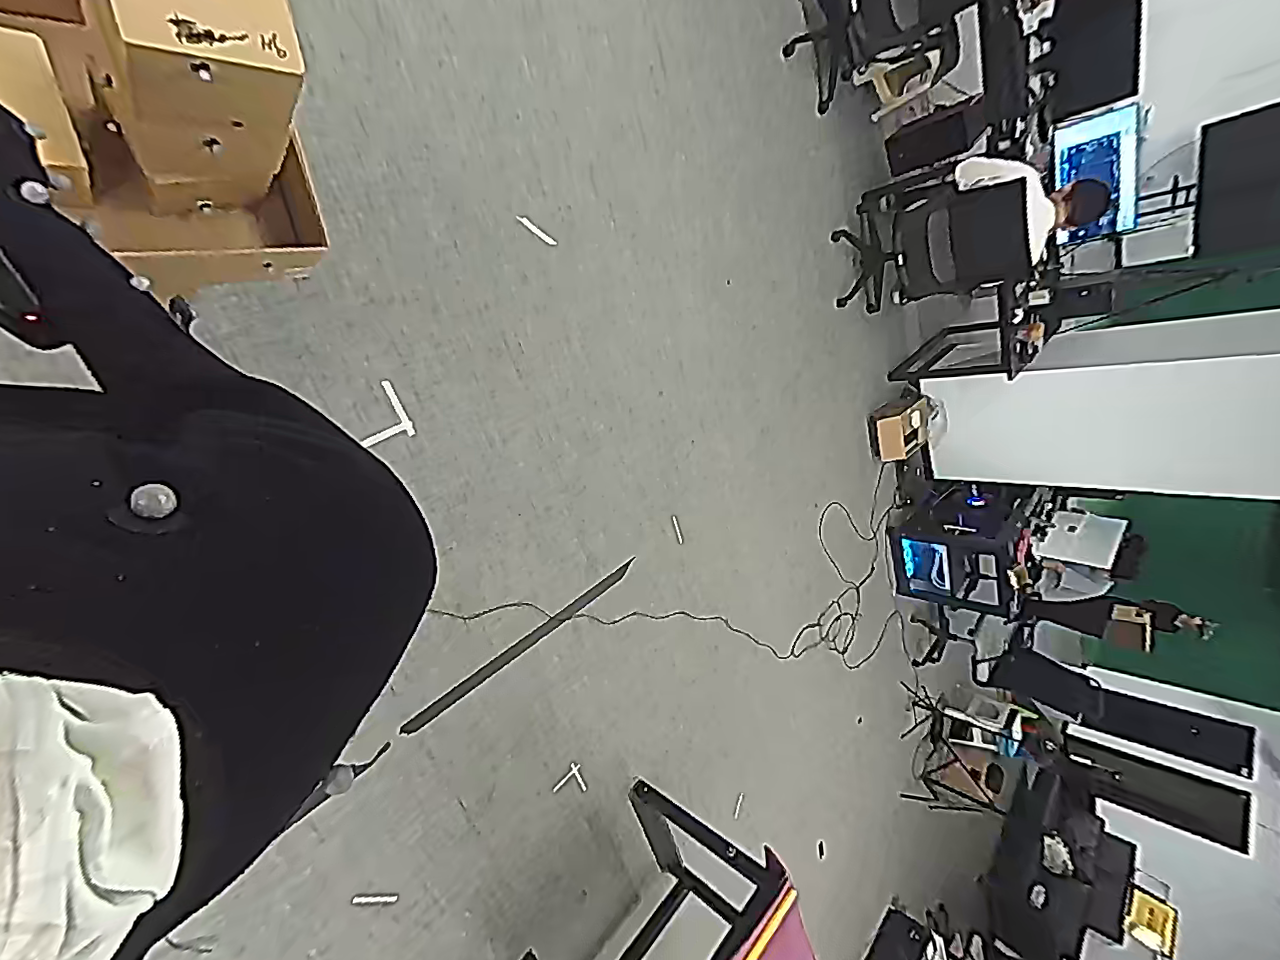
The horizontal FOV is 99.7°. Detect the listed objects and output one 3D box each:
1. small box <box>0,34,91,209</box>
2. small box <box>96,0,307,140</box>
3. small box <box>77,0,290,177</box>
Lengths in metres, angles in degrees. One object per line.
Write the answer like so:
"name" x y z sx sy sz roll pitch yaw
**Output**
"small box" -0.895 -0.484 0.736 0.179 0.176 0.168 -21 106 -39
"small box" -0.515 -0.534 0.627 0.168 0.176 0.179 -18 104 -38
"small box" -0.623 -0.538 0.752 0.179 0.176 0.168 -26 109 -37
